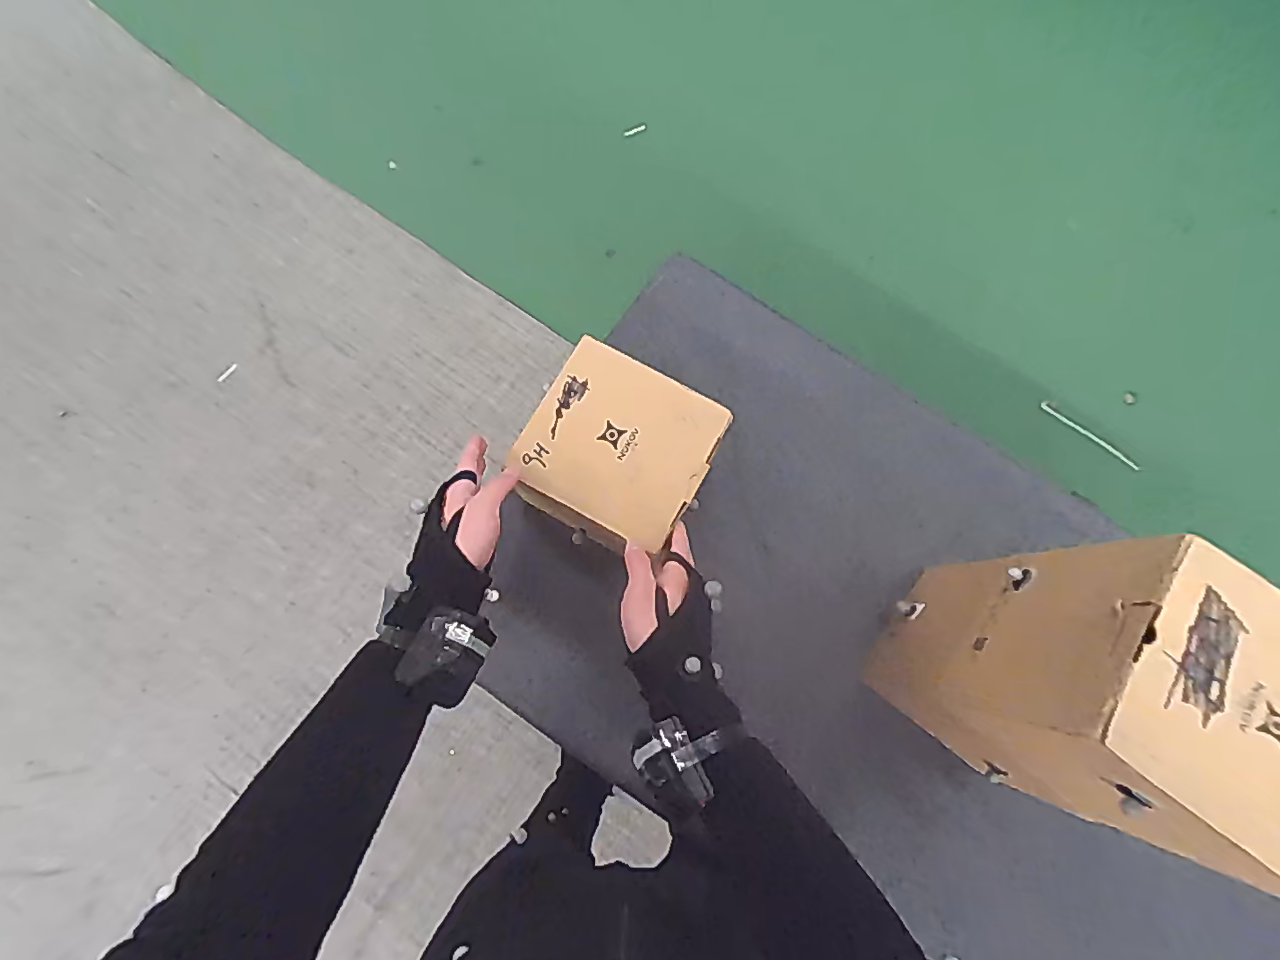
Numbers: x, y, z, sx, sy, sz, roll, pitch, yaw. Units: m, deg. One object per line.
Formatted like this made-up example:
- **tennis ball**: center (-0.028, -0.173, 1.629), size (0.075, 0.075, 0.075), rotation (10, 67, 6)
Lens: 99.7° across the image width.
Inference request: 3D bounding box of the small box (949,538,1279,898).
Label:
- **small box**: center (0.387, 0.170, 0.415), size (0.179, 0.176, 0.168), rotation (38, 77, 4)

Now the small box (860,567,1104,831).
- **small box**: center (0.377, 0.214, 0.574), size (0.179, 0.176, 0.168), rotation (38, 76, 7)

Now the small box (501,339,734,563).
- **small box**: center (-0.024, -0.018, 0.604), size (0.179, 0.176, 0.168), rotation (30, 76, 3)
